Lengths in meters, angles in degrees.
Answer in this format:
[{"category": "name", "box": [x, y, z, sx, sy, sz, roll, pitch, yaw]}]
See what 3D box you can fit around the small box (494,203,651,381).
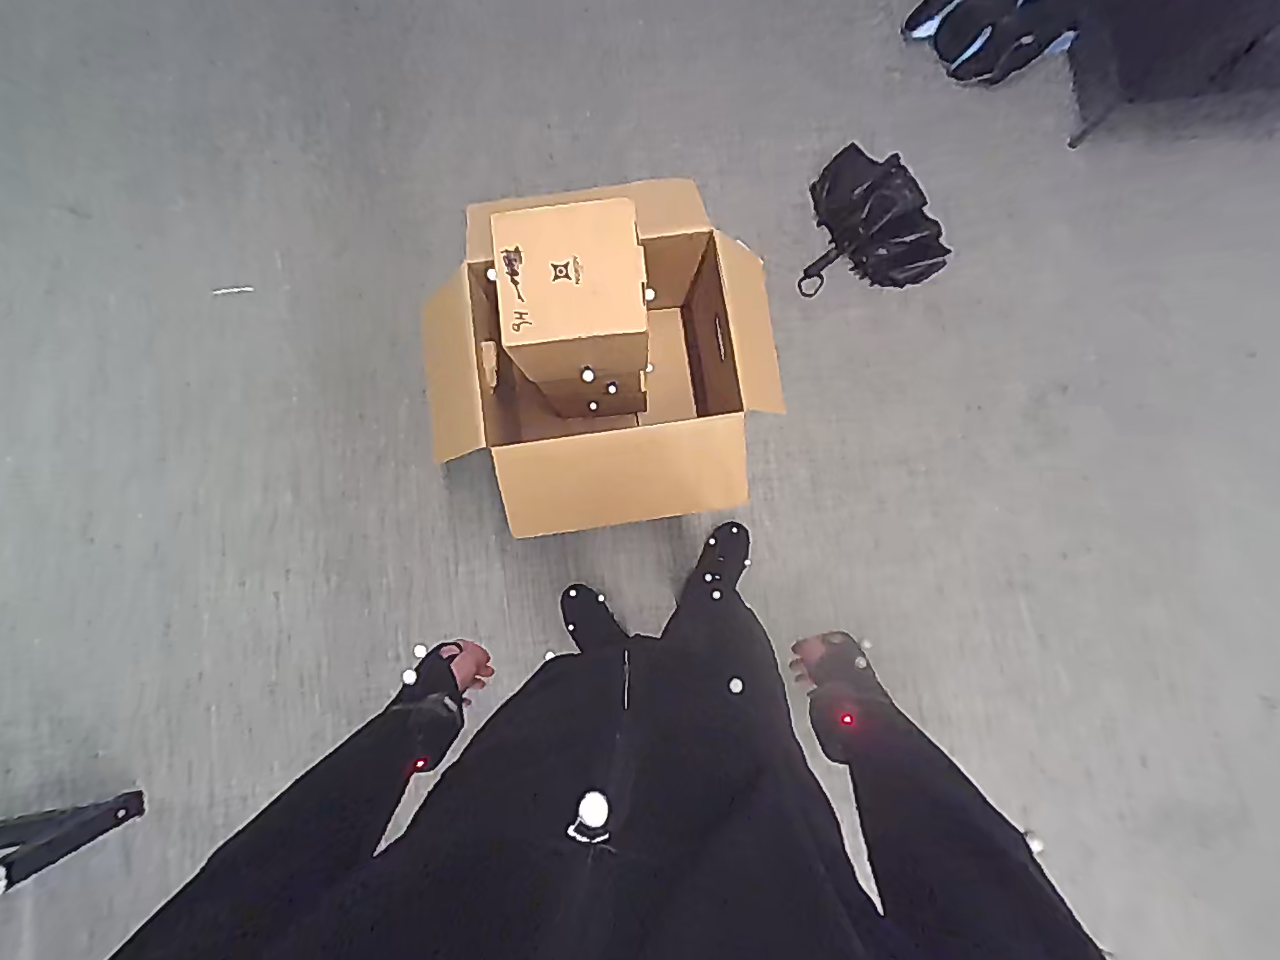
[{"category": "small box", "box": [-0.082, -0.237, 0.720, 0.179, 0.176, 0.168, -6, 85, -1]}]
